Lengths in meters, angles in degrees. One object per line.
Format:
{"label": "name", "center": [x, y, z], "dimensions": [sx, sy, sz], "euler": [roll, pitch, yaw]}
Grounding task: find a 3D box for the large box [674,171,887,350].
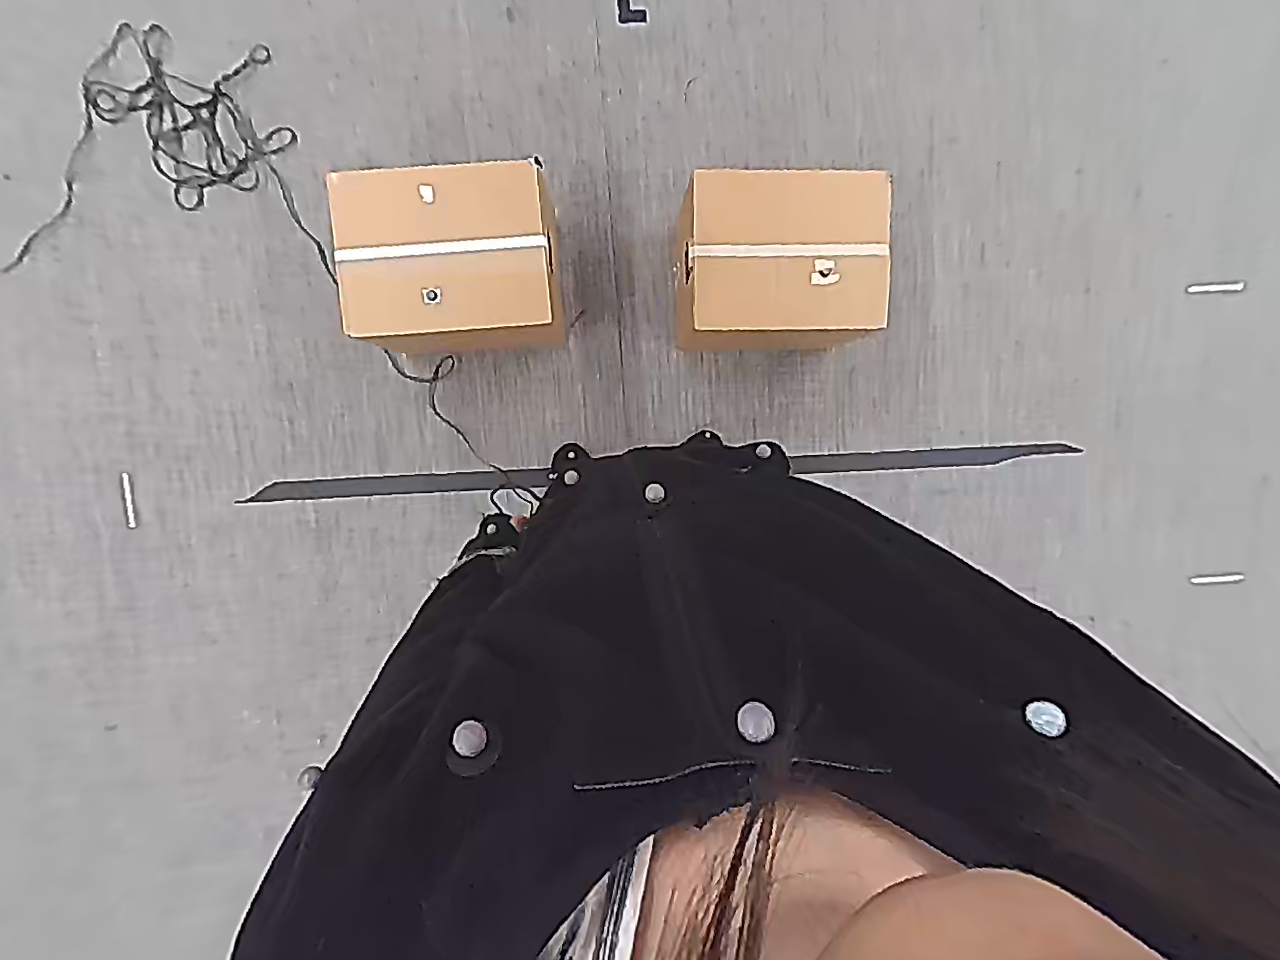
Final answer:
{"label": "large box", "center": [0.297, -0.481, 1.248], "dimensions": [0.408, 0.320, 0.320], "euler": [-1, 96, -4]}
